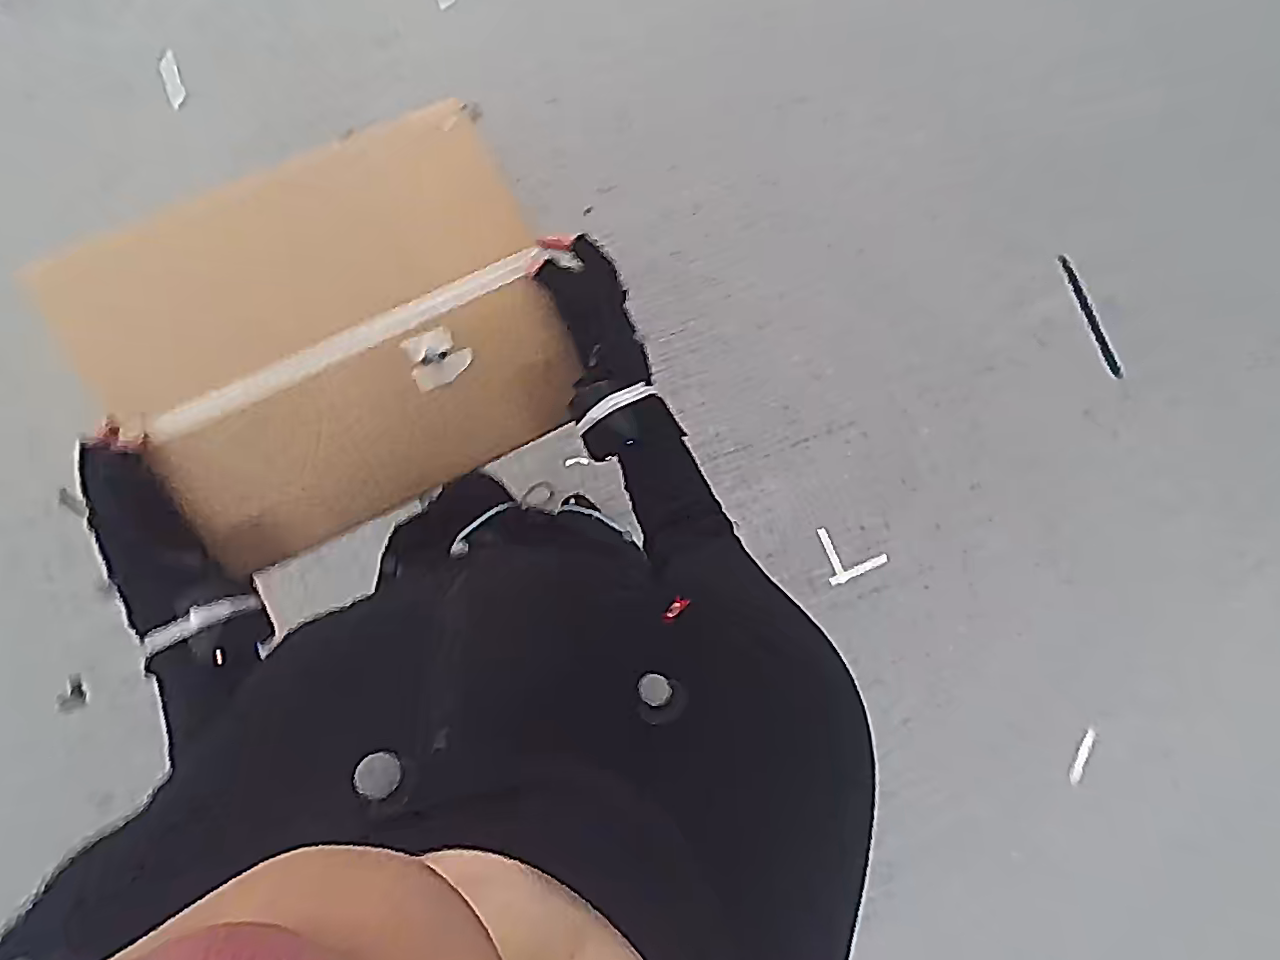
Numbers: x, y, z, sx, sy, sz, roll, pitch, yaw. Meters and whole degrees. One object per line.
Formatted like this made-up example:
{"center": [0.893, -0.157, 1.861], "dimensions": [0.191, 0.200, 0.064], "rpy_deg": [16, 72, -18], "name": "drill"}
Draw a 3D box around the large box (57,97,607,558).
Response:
{"center": [-0.302, -0.163, 0.665], "dimensions": [0.408, 0.320, 0.320], "rpy_deg": [-27, 104, -8], "name": "large box"}
